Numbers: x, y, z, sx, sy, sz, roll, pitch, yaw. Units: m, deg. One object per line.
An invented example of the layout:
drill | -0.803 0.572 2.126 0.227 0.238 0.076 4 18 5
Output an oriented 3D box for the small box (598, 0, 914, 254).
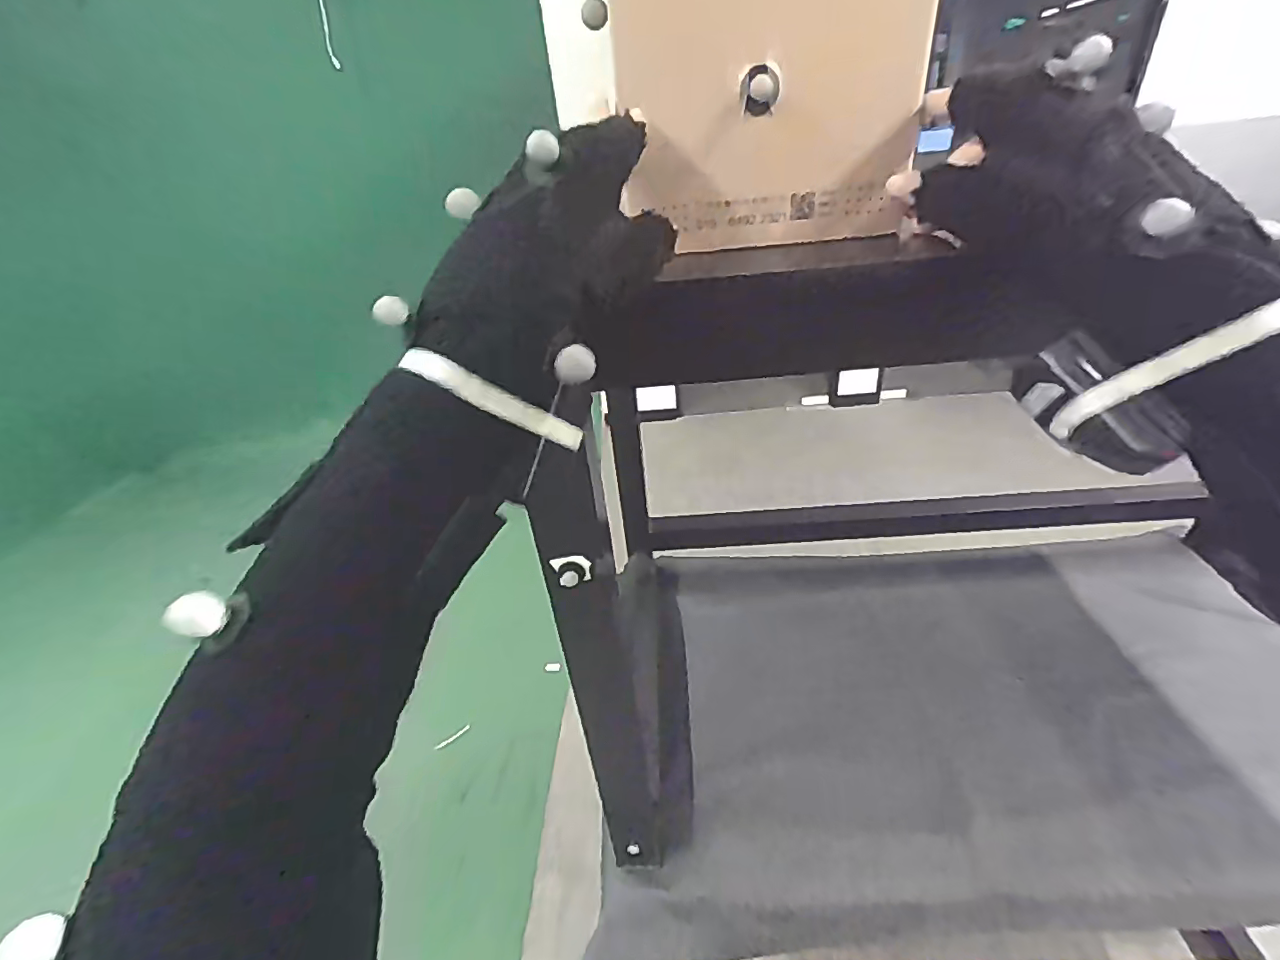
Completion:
small box | 0.067 -0.255 0.362 0.168 0.176 0.179 -3 32 4
